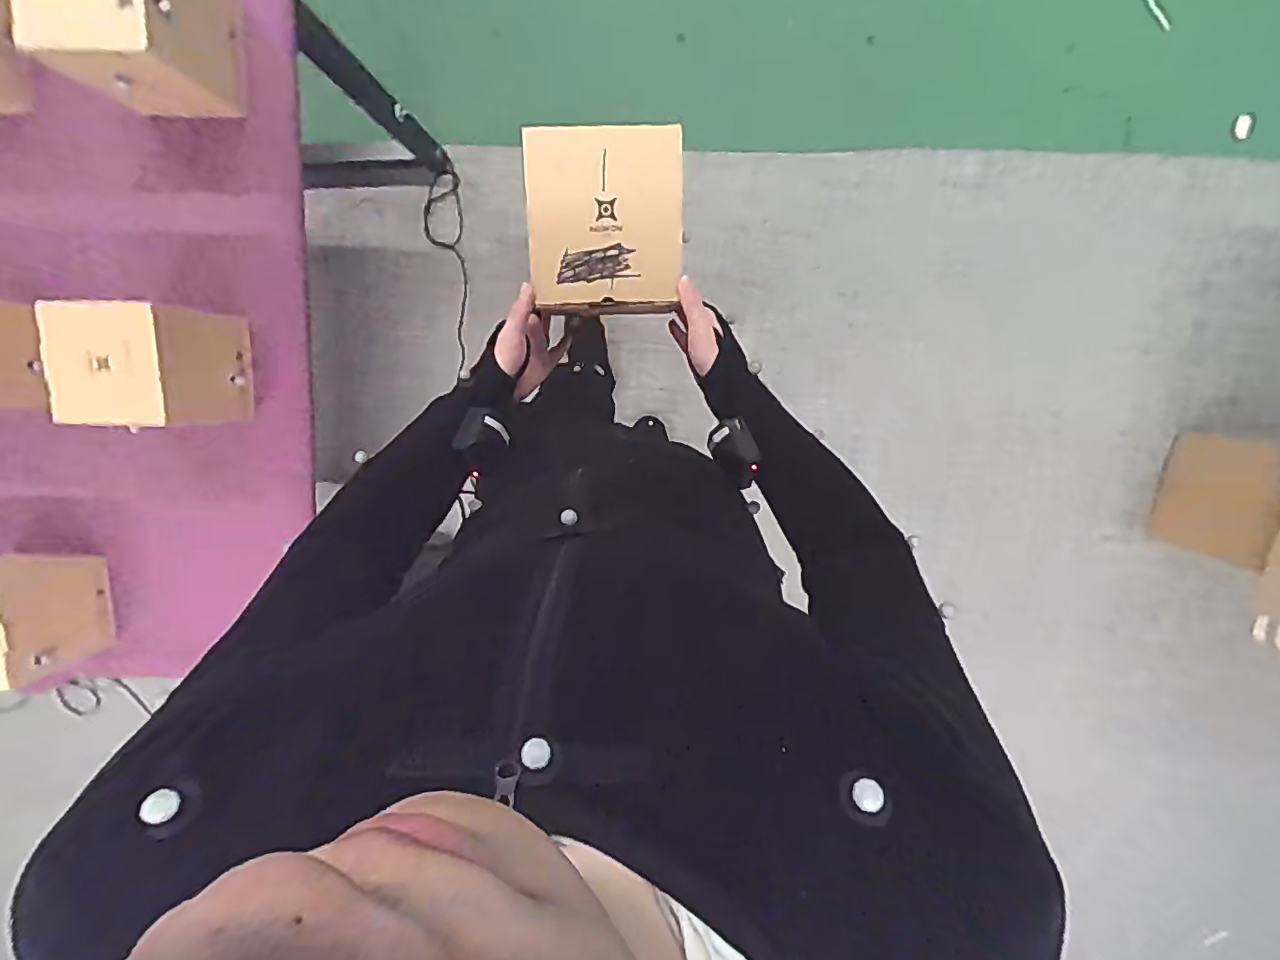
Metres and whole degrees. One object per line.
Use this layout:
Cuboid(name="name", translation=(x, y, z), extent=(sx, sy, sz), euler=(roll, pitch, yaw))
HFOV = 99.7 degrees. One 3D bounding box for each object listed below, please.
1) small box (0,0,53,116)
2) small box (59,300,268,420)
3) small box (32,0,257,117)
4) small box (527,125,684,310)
Cuboid(name="small box", translation=(-1.045, -0.660, 0.794), extent=(0.179, 0.176, 0.168), euler=(1, 102, 4))
Cuboid(name="small box", translation=(-0.730, -0.183, 0.847), extent=(0.179, 0.176, 0.168), euler=(3, 100, 6))
Cuboid(name="small box", translation=(-0.691, -0.642, 0.766), extent=(0.179, 0.176, 0.168), euler=(4, 101, 4))
Cuboid(name="small box", translation=(-0.035, -0.301, 0.654), extent=(0.168, 0.176, 0.179), euler=(0, 103, 0))
